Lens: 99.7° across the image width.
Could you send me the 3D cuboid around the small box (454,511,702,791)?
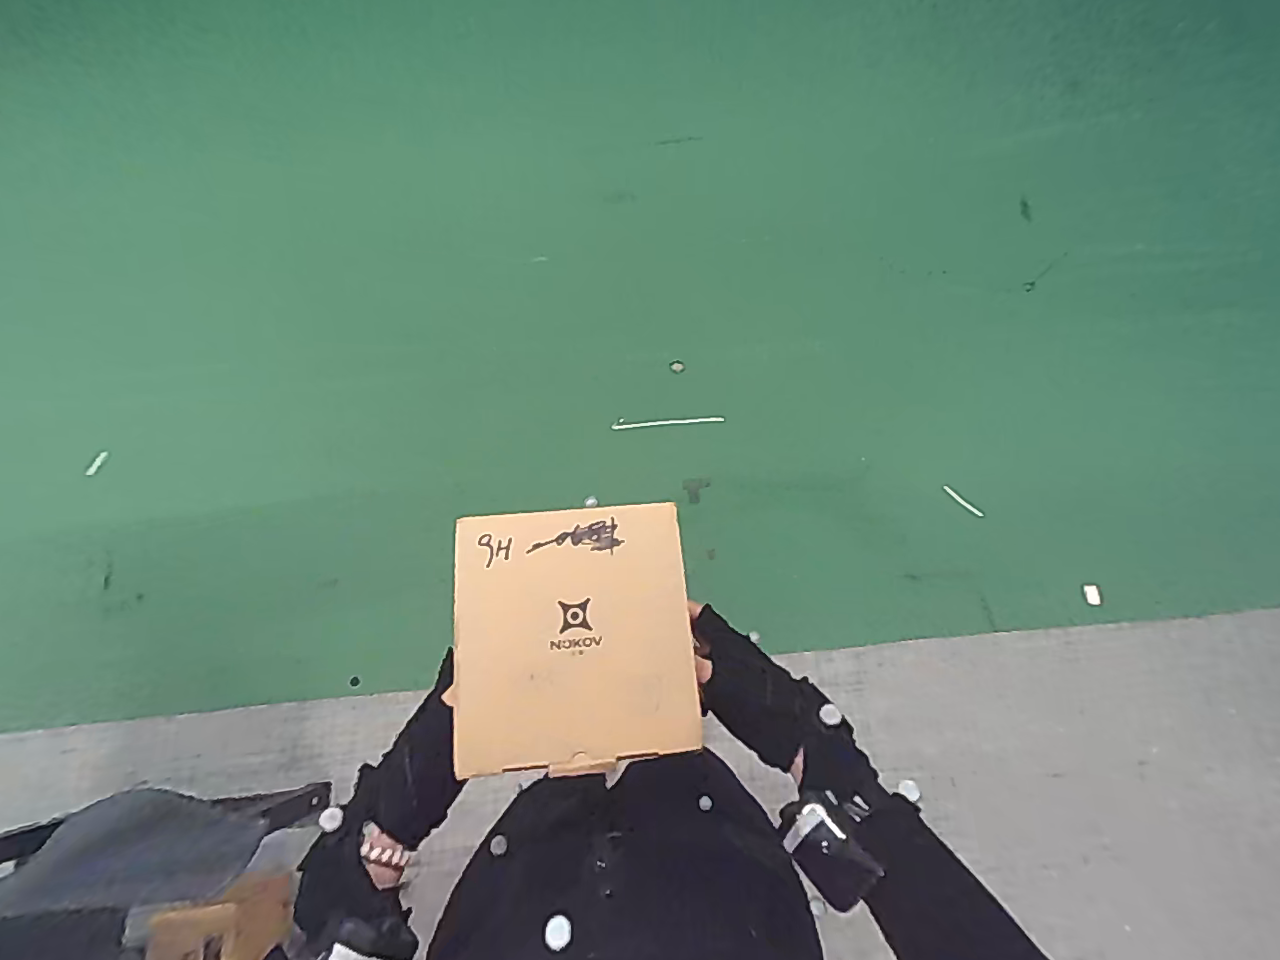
[{"bbox_3d":[-0.050,0.132,0.450,0.168,0.176,0.179,-4,74,-6],"label":"small box"}]
